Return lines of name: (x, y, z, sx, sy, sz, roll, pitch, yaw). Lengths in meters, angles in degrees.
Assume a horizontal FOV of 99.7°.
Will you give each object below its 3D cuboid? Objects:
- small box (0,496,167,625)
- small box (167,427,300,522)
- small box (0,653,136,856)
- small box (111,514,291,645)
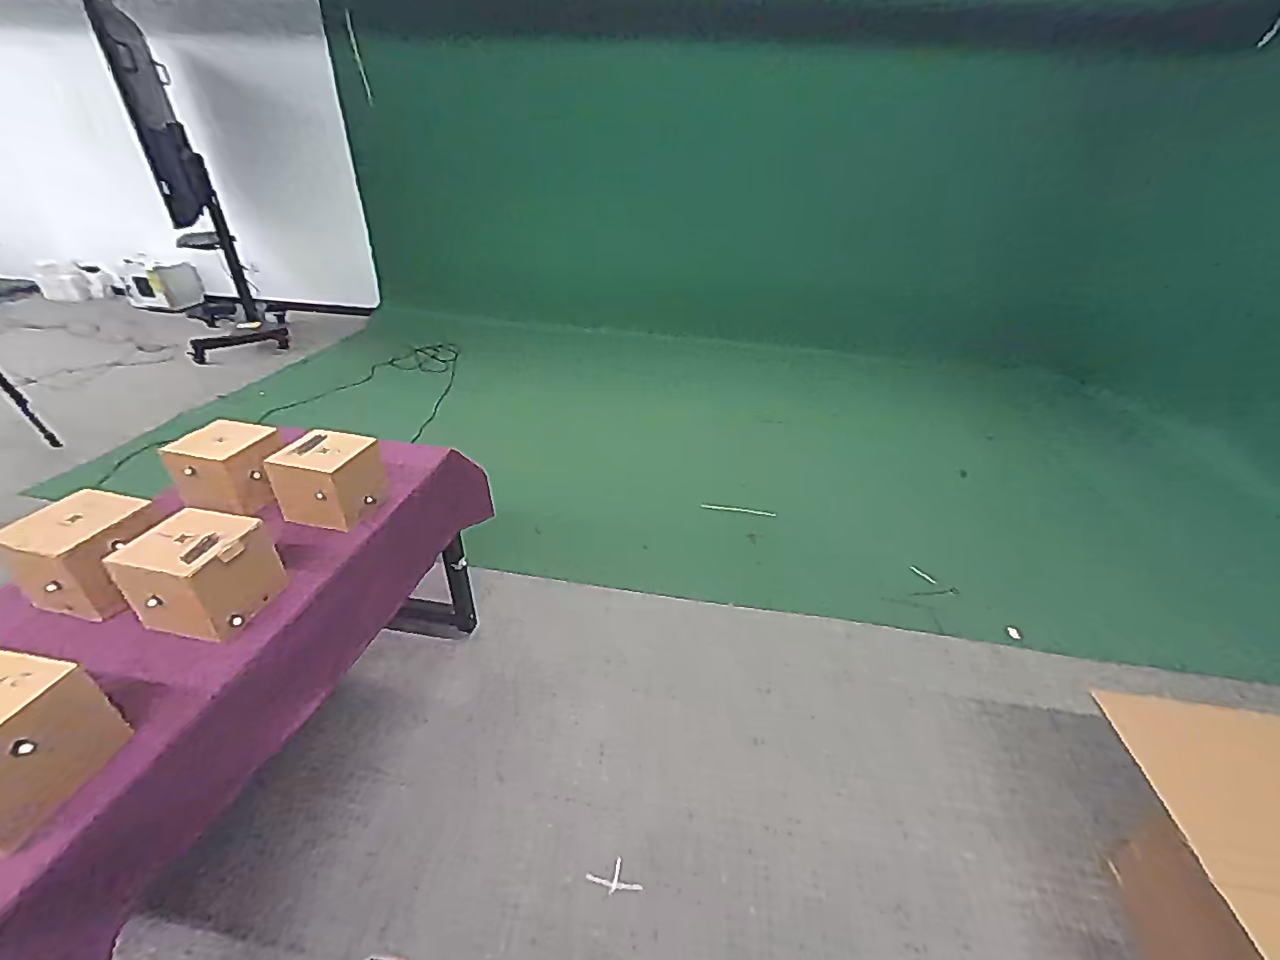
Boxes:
small box: (-1.056, 0.157, 1.064, 0.168, 0.176, 0.179, 9, 32, 10)
small box: (-0.990, -0.013, 1.337, 0.179, 0.176, 0.168, 8, 33, 11)
small box: (-0.860, 0.368, 0.732, 0.168, 0.176, 0.179, 7, 32, 8)
small box: (-0.812, 0.188, 1.023, 0.179, 0.176, 0.168, 7, 32, 10)
